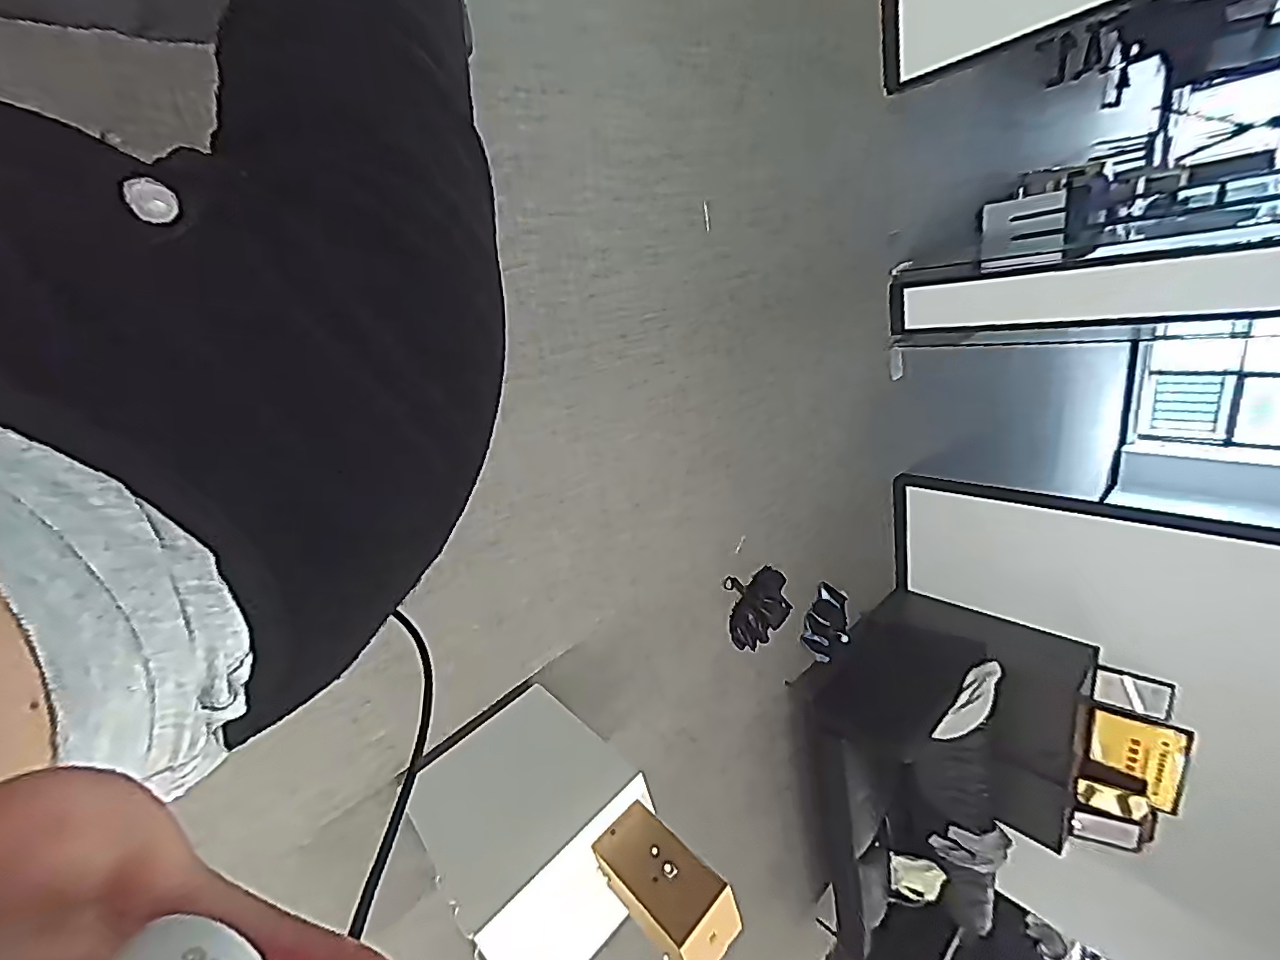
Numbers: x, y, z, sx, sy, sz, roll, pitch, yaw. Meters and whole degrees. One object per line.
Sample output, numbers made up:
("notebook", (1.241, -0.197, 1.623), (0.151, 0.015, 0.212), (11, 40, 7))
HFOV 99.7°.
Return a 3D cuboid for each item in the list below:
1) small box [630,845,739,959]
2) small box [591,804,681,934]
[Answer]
("small box", (0.103, 1.005, 1.255), (0.168, 0.176, 0.179), (-32, 118, -32))
("small box", (0.001, 0.982, 1.381), (0.168, 0.176, 0.179), (-30, 119, -32))
